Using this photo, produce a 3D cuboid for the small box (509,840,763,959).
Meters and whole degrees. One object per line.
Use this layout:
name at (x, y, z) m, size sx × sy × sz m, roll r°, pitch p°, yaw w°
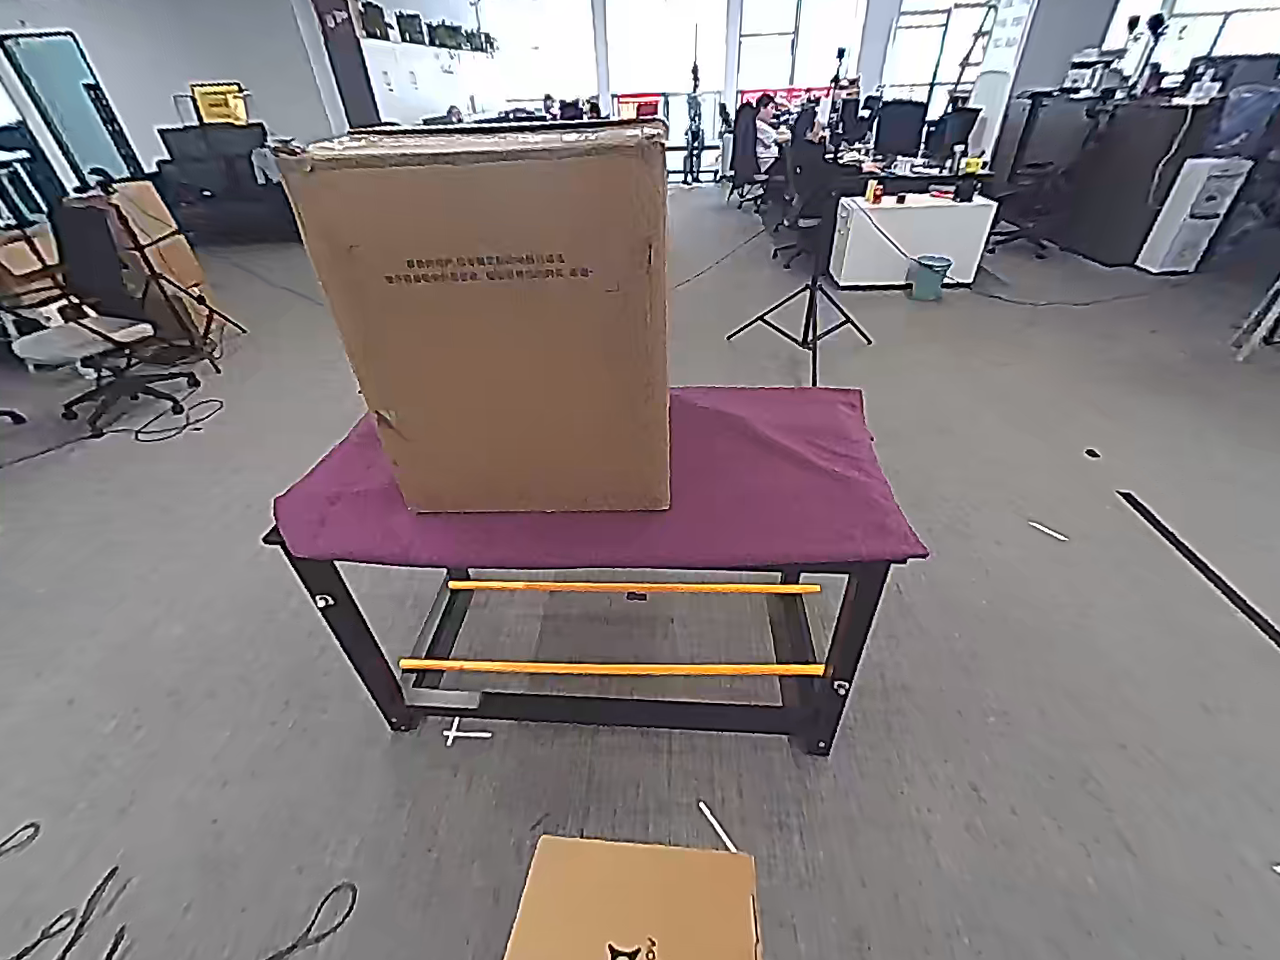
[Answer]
small box at (0.001, 0.402, 0.392) m, size 0.179 × 0.176 × 0.168 m, roll -1°, pitch 22°, yaw 8°
